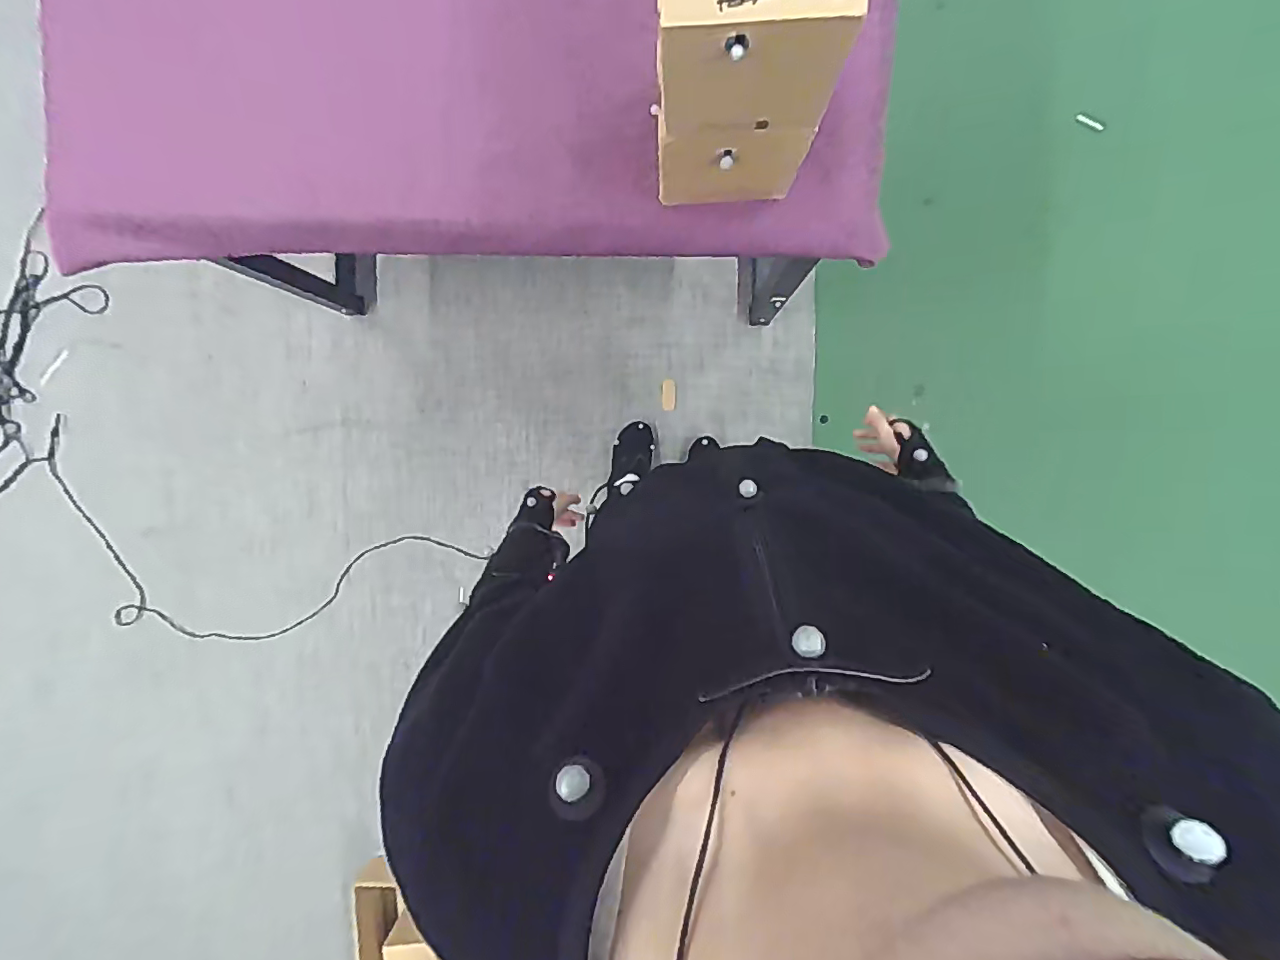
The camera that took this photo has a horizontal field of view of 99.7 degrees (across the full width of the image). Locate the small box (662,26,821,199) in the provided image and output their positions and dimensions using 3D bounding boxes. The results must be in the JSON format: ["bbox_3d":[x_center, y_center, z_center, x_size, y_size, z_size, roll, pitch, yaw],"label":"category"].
[{"bbox_3d":[0.118,-0.469,0.669,0.179,0.176,0.168,0,95,6],"label":"small box"}]

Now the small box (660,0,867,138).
[{"bbox_3d":[0.106,-0.459,0.506,0.168,0.176,0.179,0,94,7],"label":"small box"}]
